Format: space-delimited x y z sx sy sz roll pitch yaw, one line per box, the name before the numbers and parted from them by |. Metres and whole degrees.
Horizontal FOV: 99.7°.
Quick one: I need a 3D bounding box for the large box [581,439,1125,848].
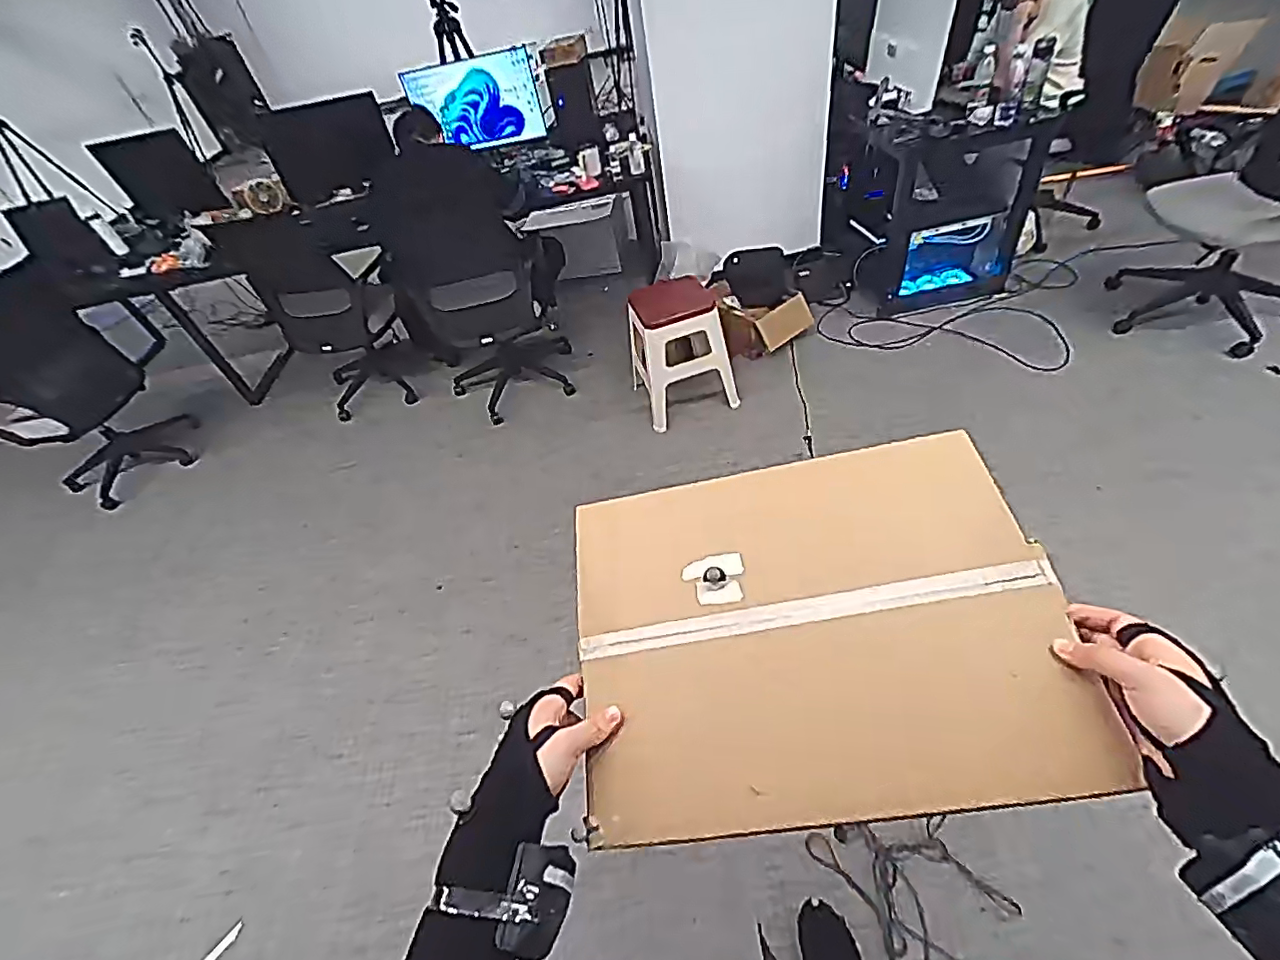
large box | 0.179 0.204 0.615 0.408 0.320 0.320 -13 55 9
